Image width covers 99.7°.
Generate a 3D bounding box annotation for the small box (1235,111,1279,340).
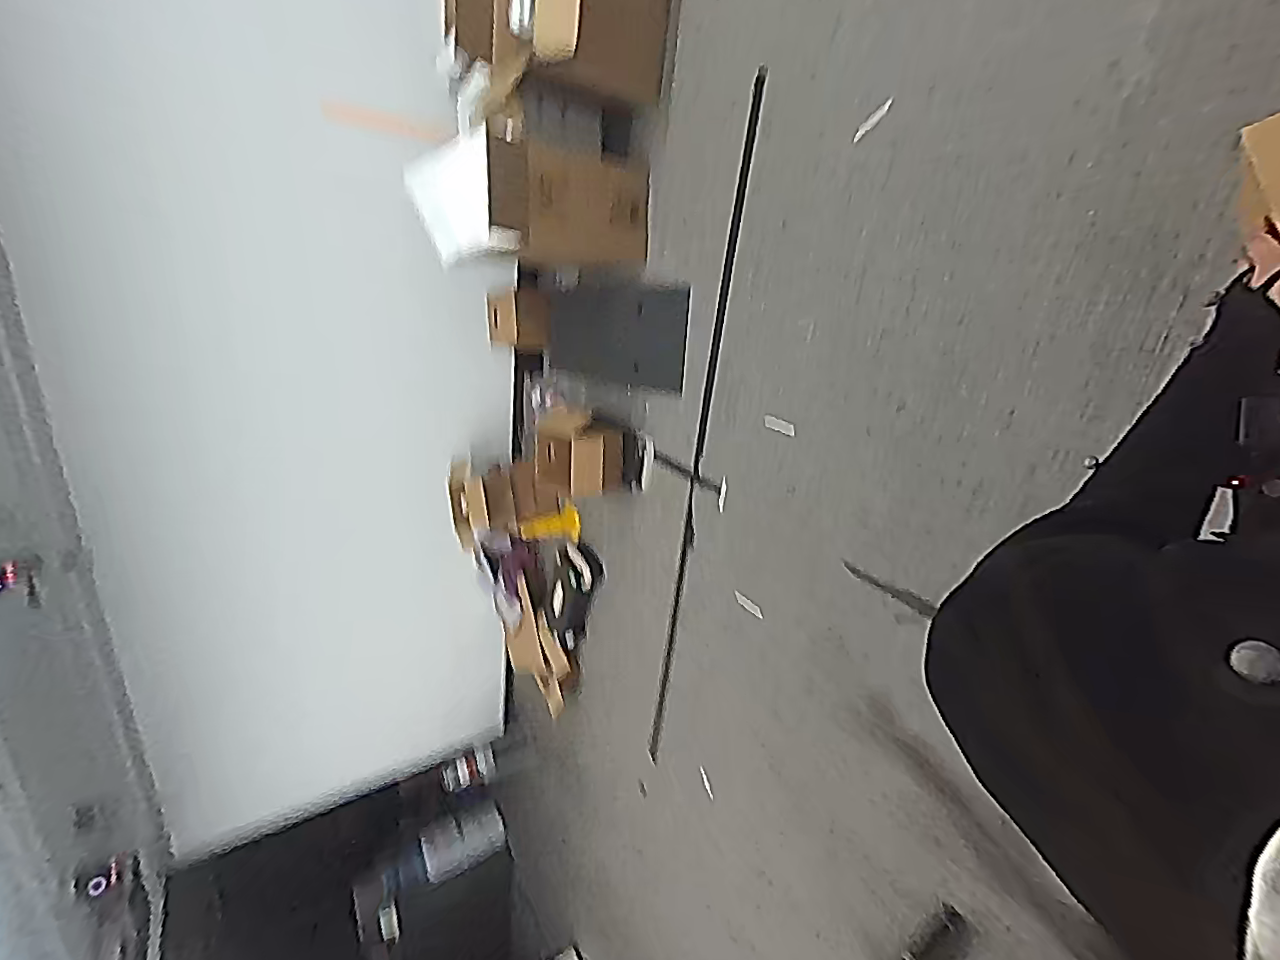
[{"bbox_3d":[0.692,-0.256,0.492,0.179,0.176,0.168,-15,65,43],"label":"small box"}]
